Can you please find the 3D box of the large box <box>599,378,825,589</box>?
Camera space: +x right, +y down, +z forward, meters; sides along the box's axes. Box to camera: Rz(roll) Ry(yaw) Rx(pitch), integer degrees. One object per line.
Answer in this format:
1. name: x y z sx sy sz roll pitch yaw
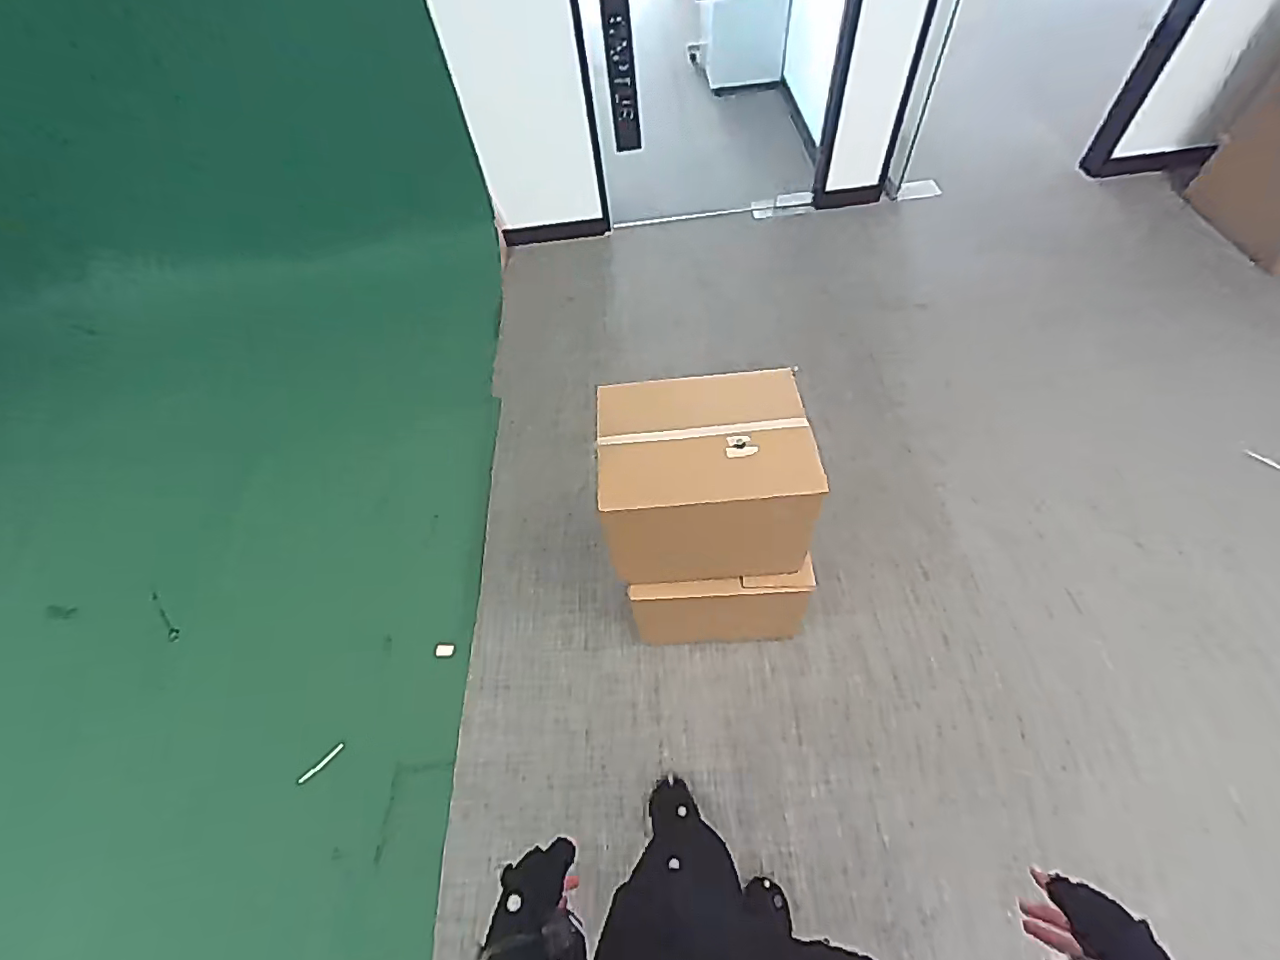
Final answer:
1. large box: 0.129 0.015 1.147 0.408 0.320 0.320 -4 53 3
